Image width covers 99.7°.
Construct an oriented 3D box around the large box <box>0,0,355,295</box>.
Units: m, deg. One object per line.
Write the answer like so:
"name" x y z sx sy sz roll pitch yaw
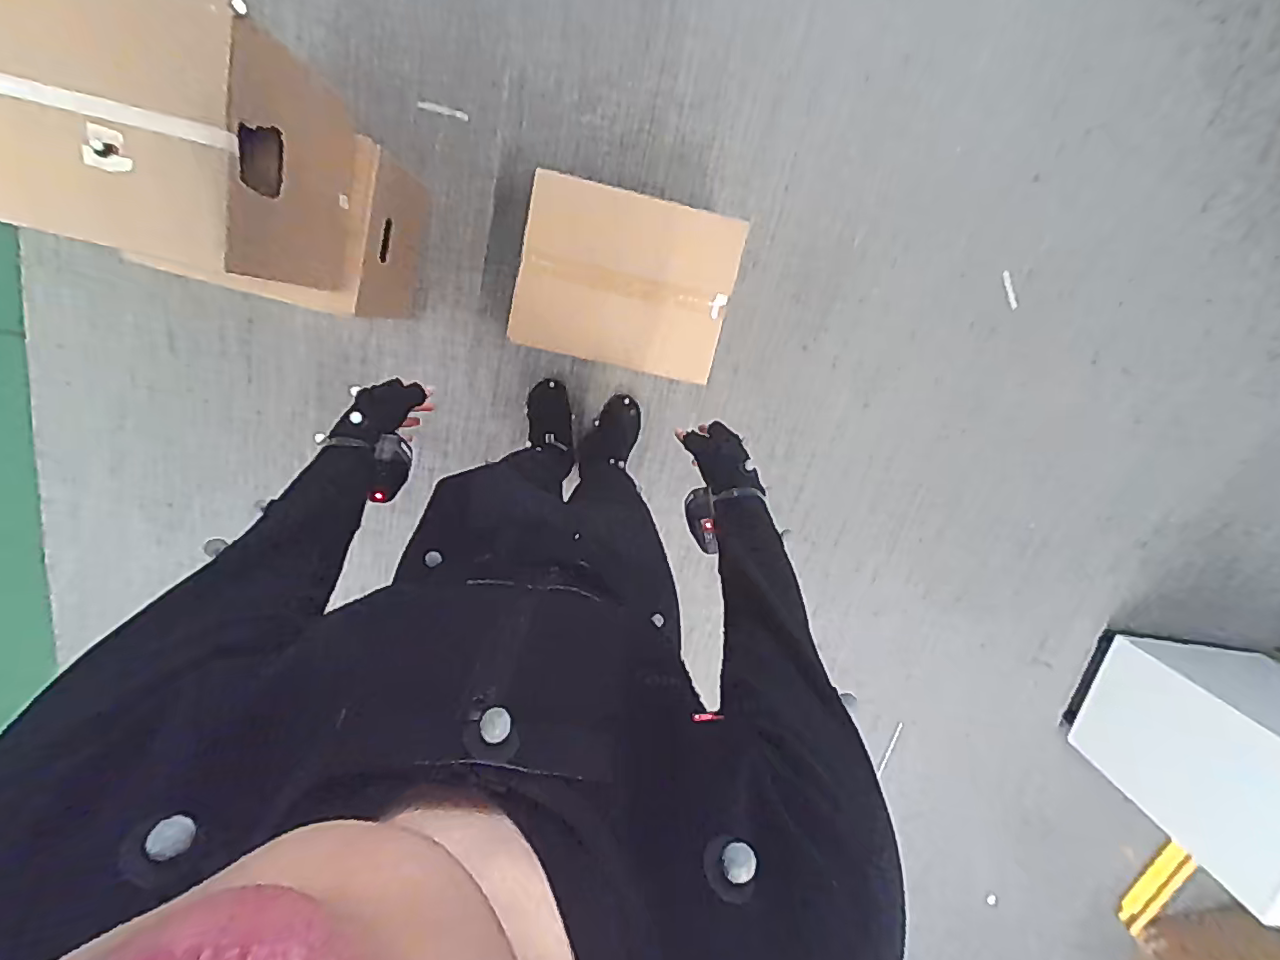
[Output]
"large box" -0.700 -0.486 0.789 0.408 0.320 0.320 12 103 -8
